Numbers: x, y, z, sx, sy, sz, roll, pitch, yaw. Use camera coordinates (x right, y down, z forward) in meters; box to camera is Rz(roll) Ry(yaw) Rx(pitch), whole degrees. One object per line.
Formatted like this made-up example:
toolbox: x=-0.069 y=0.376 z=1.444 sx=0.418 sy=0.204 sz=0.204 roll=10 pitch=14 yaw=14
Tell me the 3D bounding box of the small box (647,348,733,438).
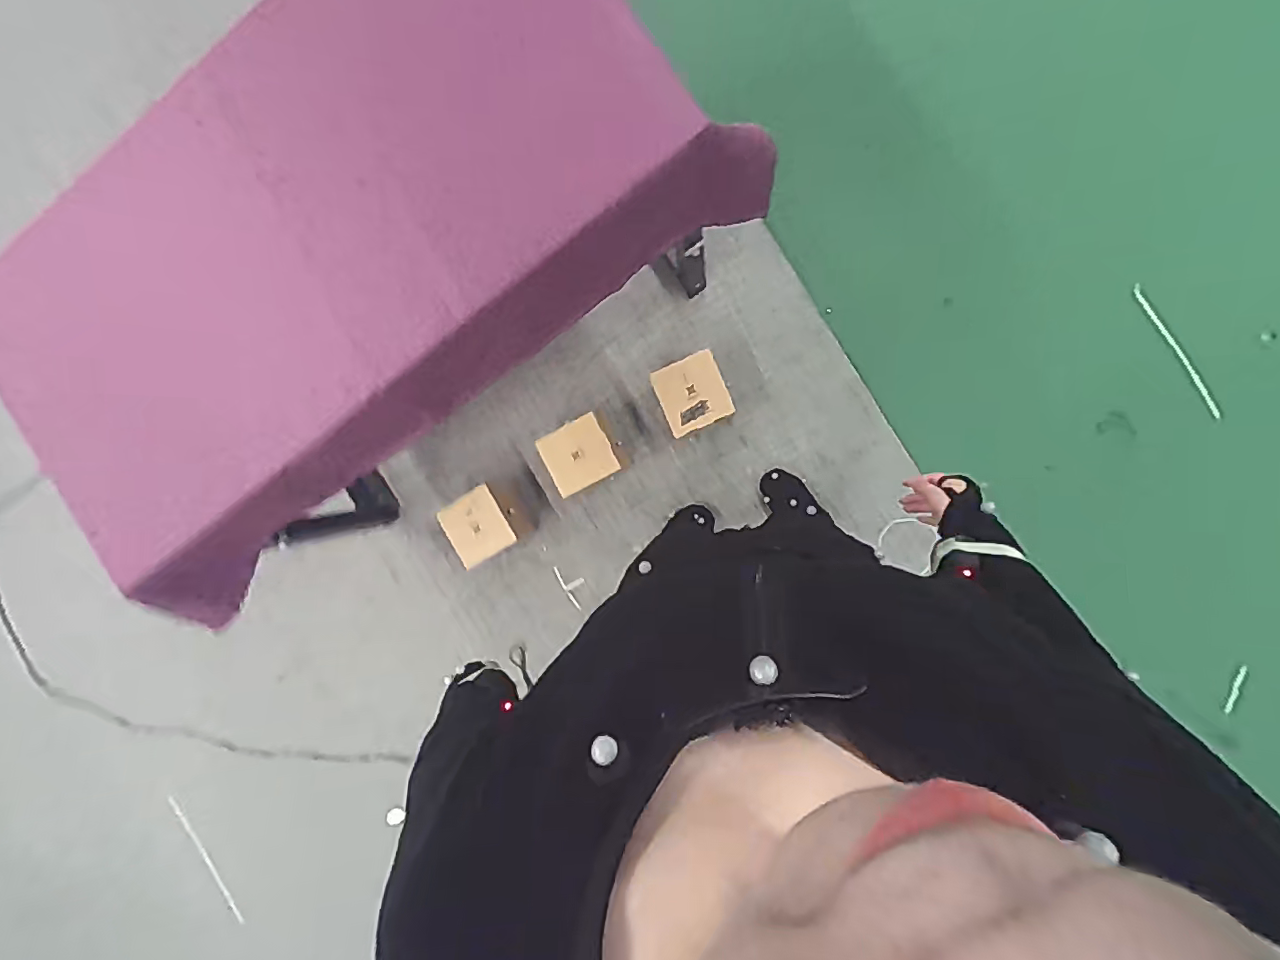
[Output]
small box: x=0.135 y=-0.218 z=1.410 sx=0.168 sy=0.176 sz=0.179 roll=-24 pitch=88 yaw=8
